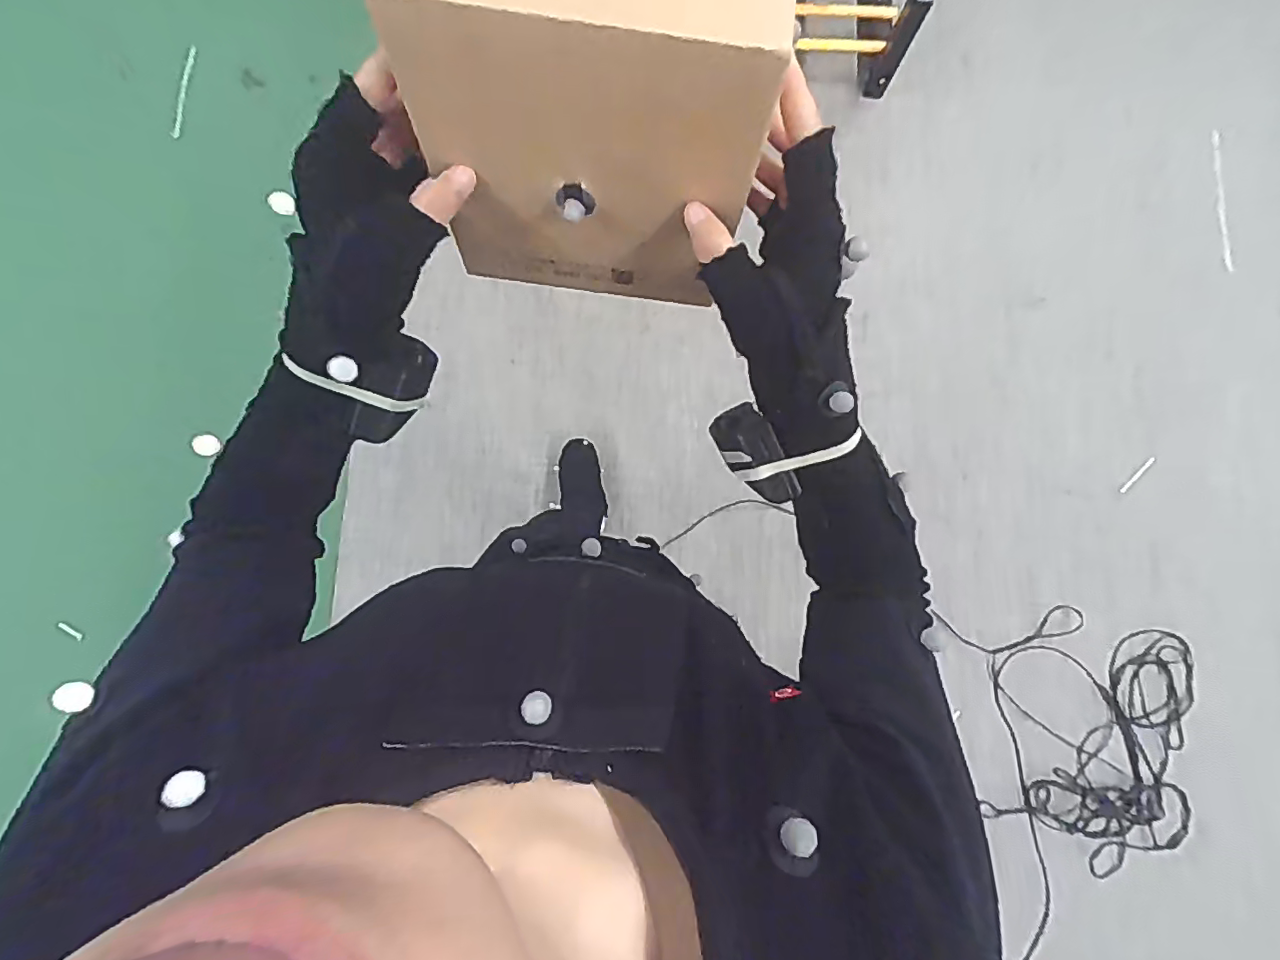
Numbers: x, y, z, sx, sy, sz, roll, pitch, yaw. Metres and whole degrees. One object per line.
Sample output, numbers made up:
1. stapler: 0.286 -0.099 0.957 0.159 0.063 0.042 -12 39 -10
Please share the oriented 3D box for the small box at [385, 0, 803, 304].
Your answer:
1. small box: -0.014 -0.226 0.308 0.168 0.176 0.179 7 73 -3
